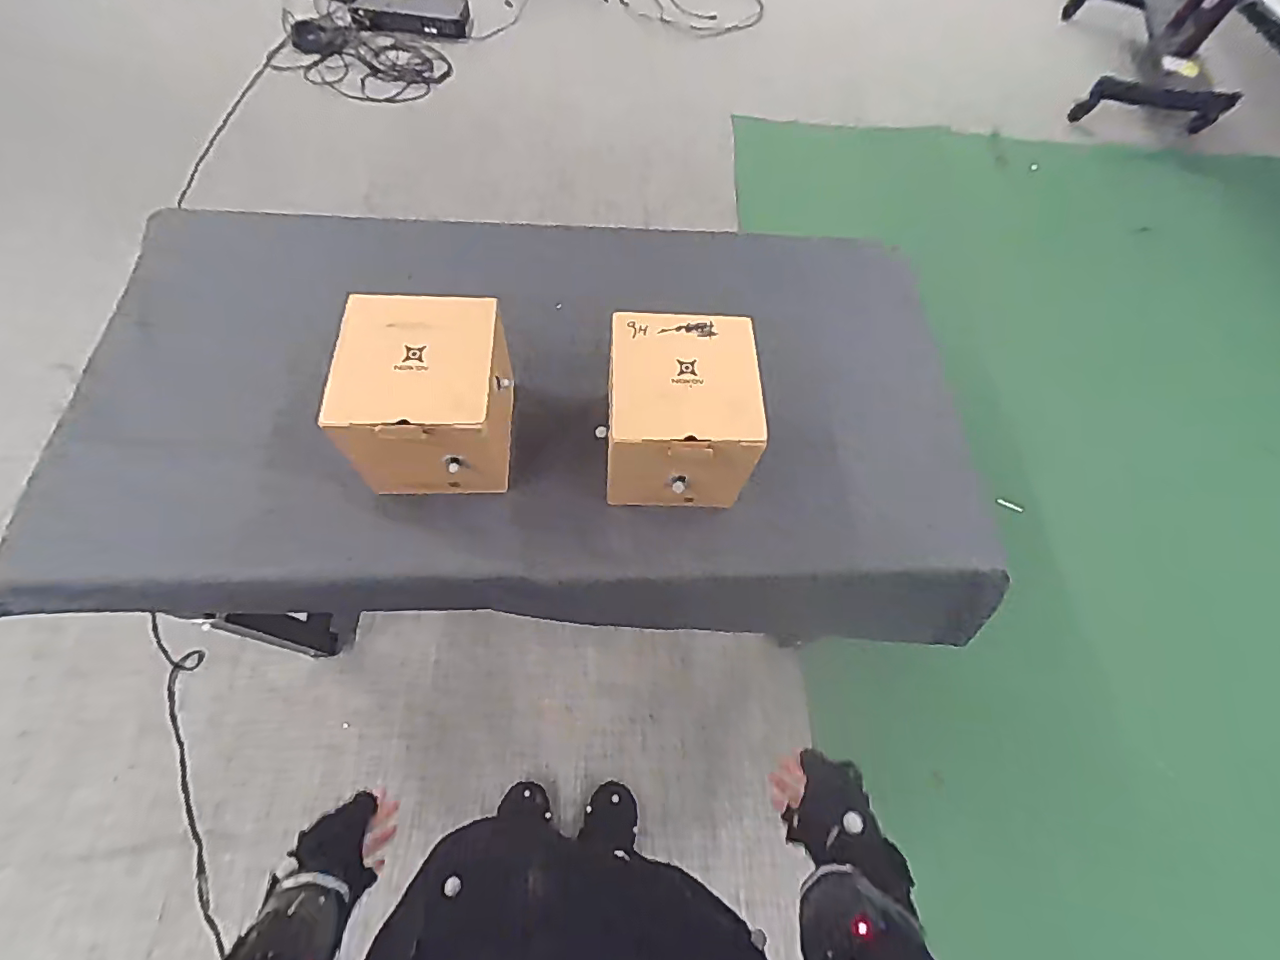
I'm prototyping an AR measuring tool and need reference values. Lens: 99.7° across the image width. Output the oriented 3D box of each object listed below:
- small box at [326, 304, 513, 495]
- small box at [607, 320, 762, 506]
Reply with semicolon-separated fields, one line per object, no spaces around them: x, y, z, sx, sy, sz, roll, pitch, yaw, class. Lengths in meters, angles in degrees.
-0.250;-0.090;0.662;0.168;0.176;0.179;-1;62;-7;small box
0.044;-0.075;0.679;0.168;0.176;0.179;1;64;-5;small box
